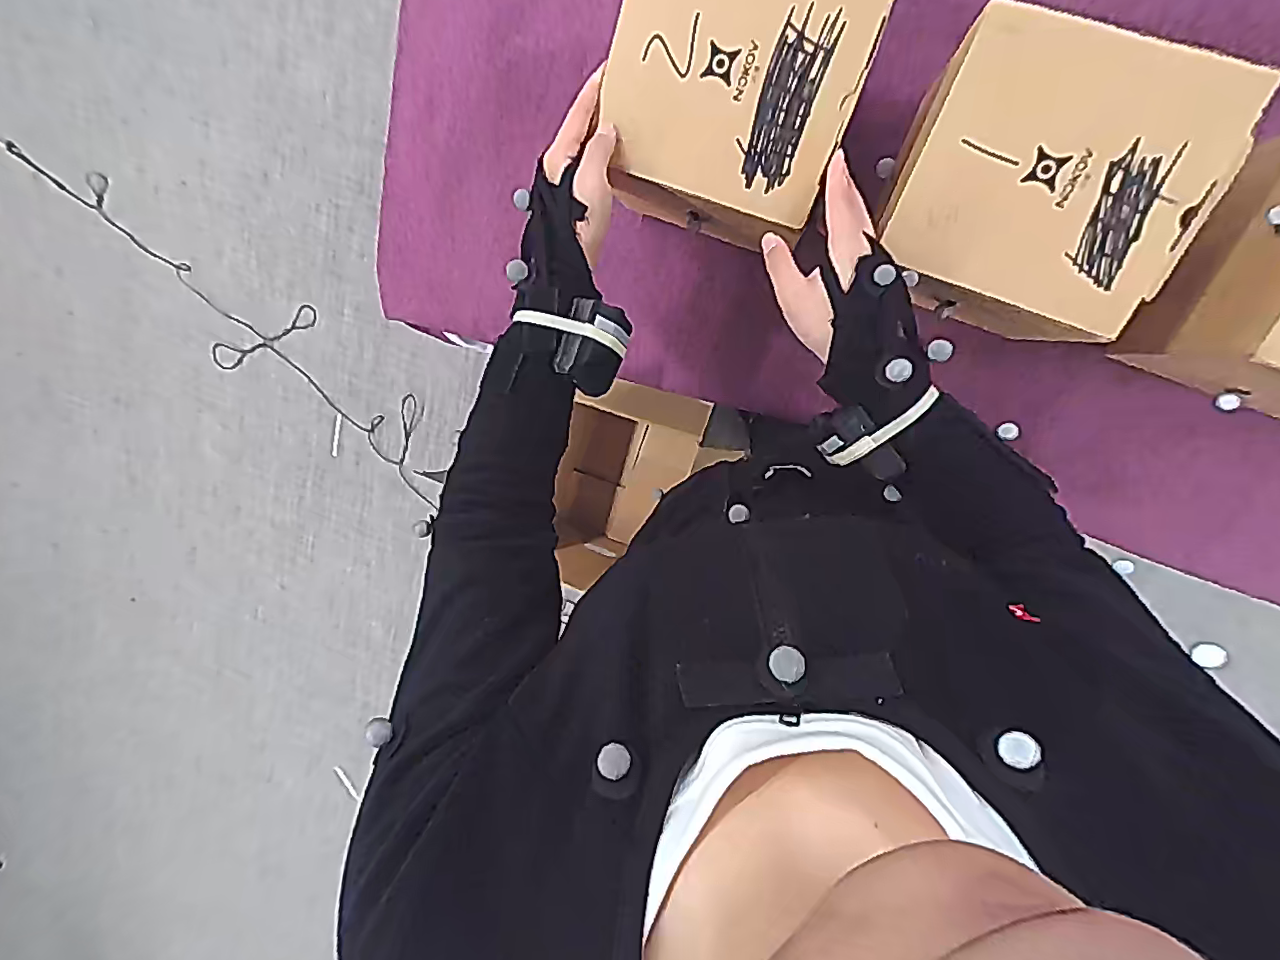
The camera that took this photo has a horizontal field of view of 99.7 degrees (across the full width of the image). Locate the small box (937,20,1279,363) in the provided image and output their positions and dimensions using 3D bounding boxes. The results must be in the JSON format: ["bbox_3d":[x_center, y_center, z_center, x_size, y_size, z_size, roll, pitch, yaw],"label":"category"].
[{"bbox_3d":[0.345,-0.204,0.409,0.179,0.176,0.168,4,146,17],"label":"small box"}]
